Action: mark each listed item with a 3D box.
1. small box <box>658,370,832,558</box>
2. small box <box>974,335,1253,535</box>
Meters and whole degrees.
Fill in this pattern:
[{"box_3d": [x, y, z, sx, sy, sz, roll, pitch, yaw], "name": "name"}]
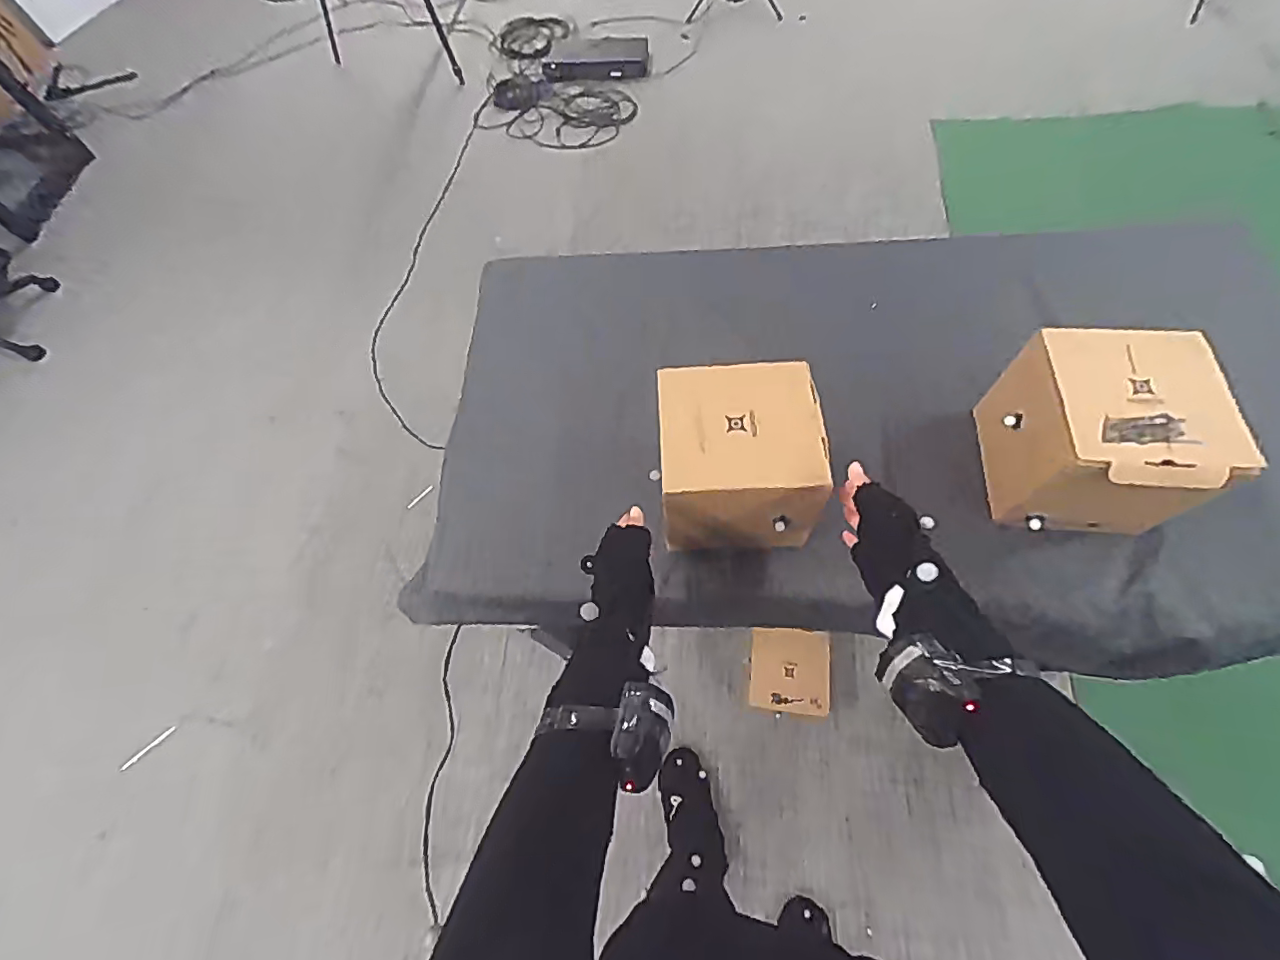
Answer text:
[{"box_3d": [0.115, -0.012, 0.661, 0.179, 0.176, 0.168, -5, 60, 4], "name": "small box"}, {"box_3d": [0.524, -0.046, 0.634, 0.168, 0.176, 0.179, 4, 63, 8], "name": "small box"}]
